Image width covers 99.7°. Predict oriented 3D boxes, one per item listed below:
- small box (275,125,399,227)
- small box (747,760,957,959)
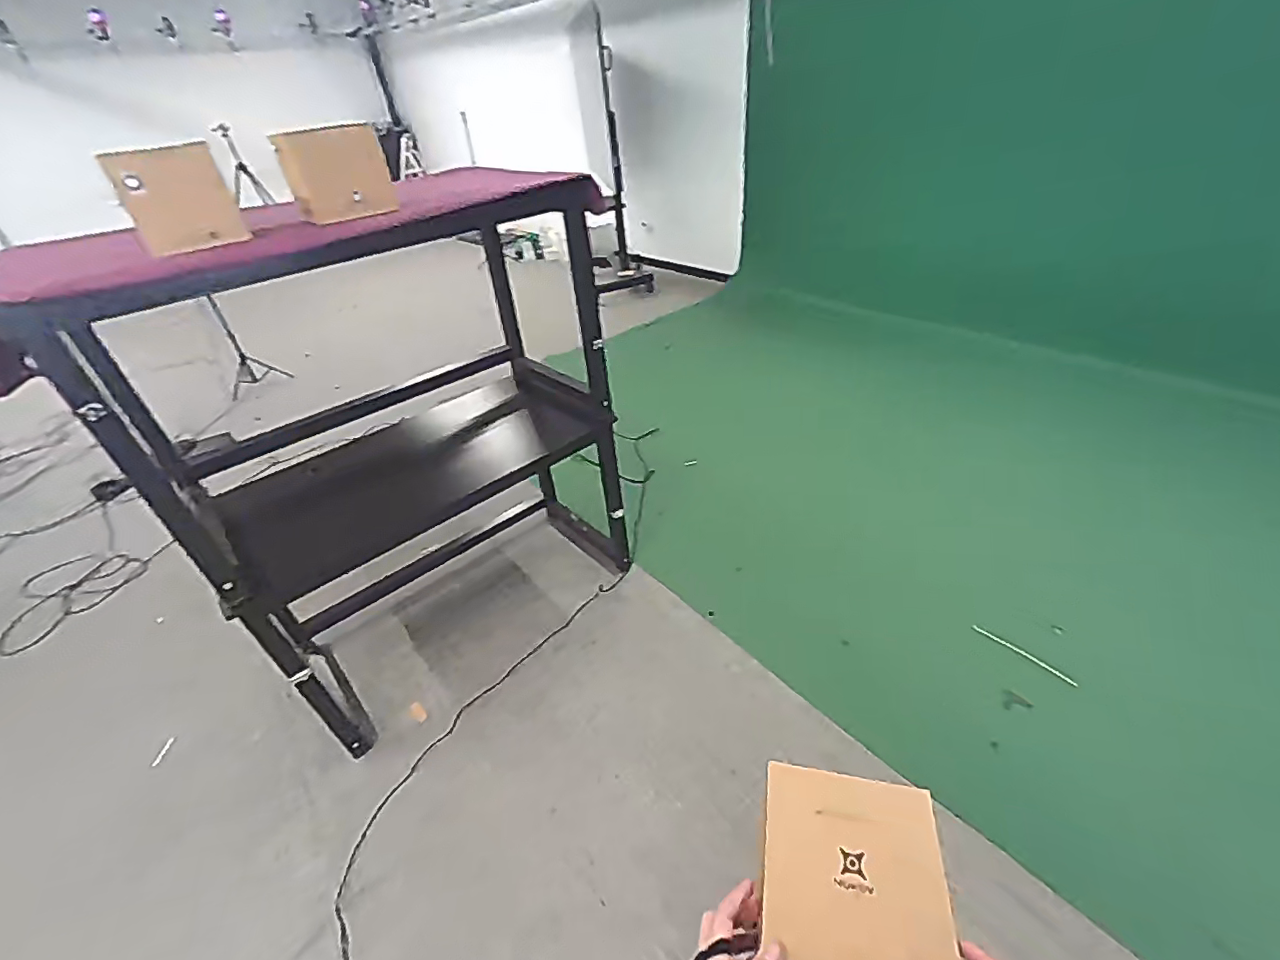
[{"bbox_3d":[-0.650,-0.665,1.179,0.179,0.176,0.168,-30,41,-30],"label":"small box"},{"bbox_3d":[0.201,0.426,0.553,0.168,0.176,0.179,5,38,12],"label":"small box"}]
